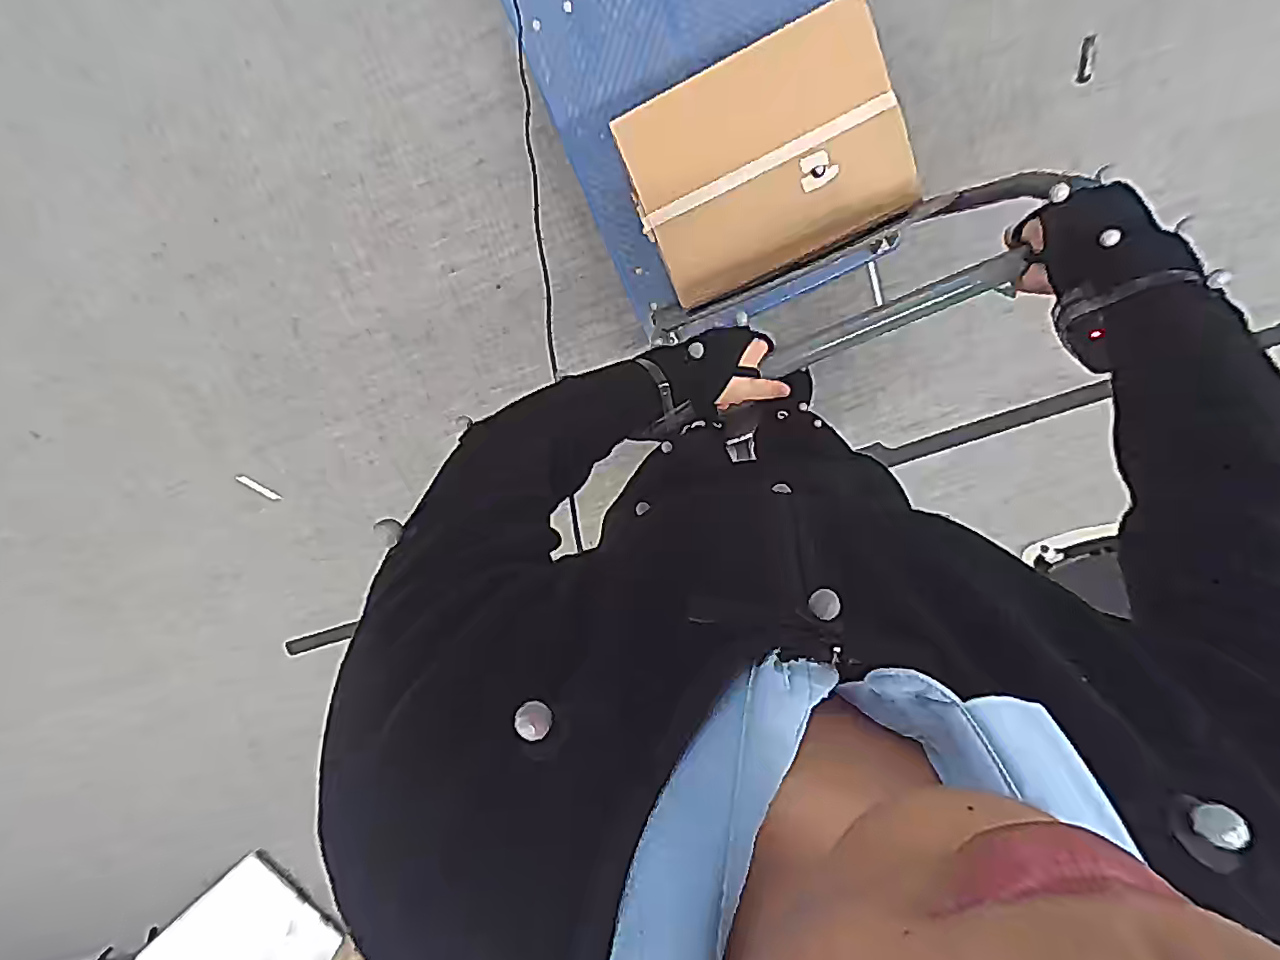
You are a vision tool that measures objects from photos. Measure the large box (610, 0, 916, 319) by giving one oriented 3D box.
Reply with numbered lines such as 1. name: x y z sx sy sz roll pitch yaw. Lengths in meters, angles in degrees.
1. large box: 0.201 -0.523 0.986 0.408 0.320 0.320 -23 104 10
